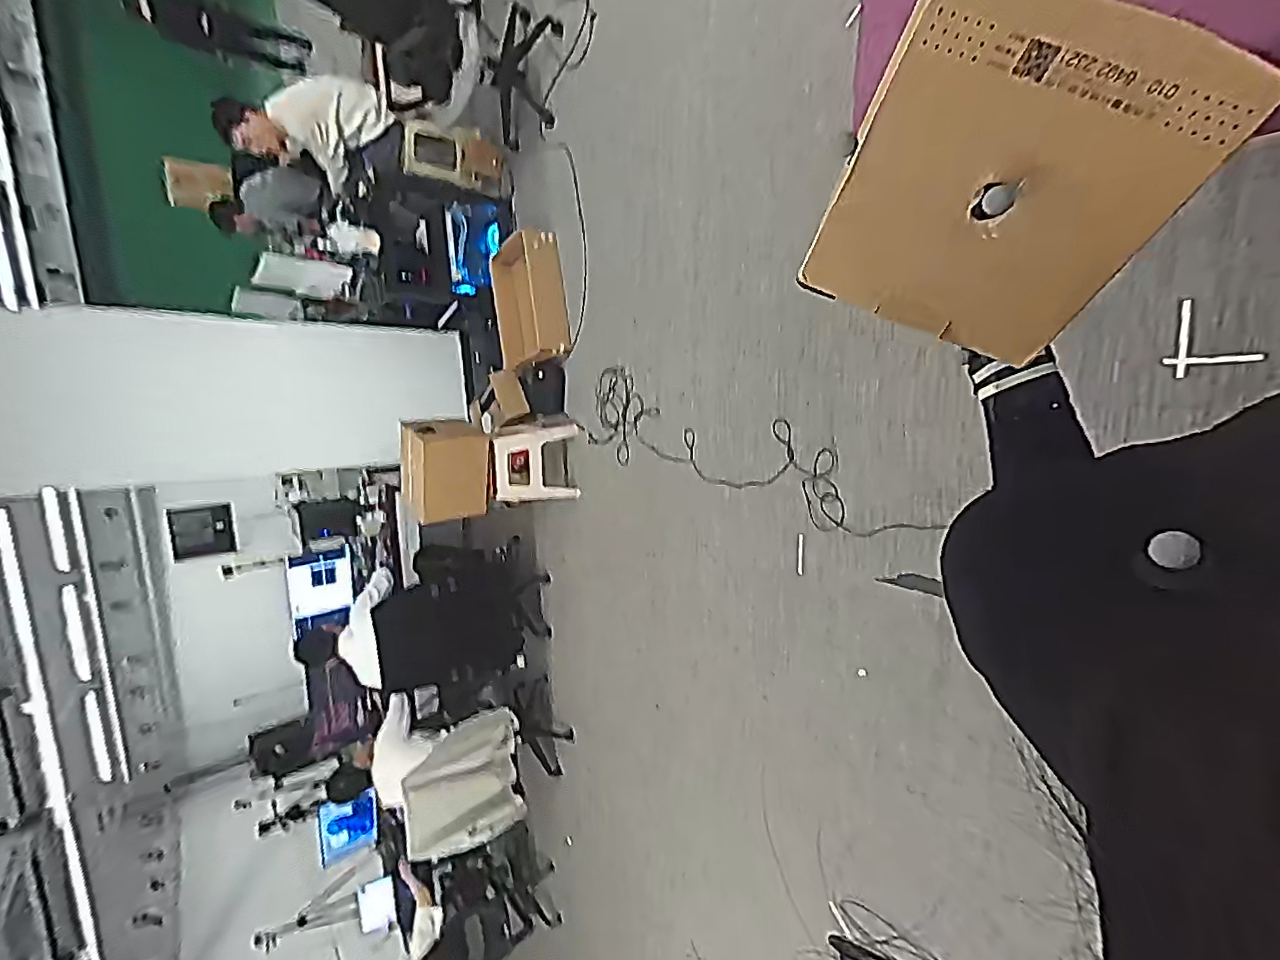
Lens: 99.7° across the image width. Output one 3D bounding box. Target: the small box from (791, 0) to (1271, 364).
[{"bbox_3d":[0.221,-0.213,0.349,0.168,0.179,0.176,25,141,6],"label":"small box"}]
